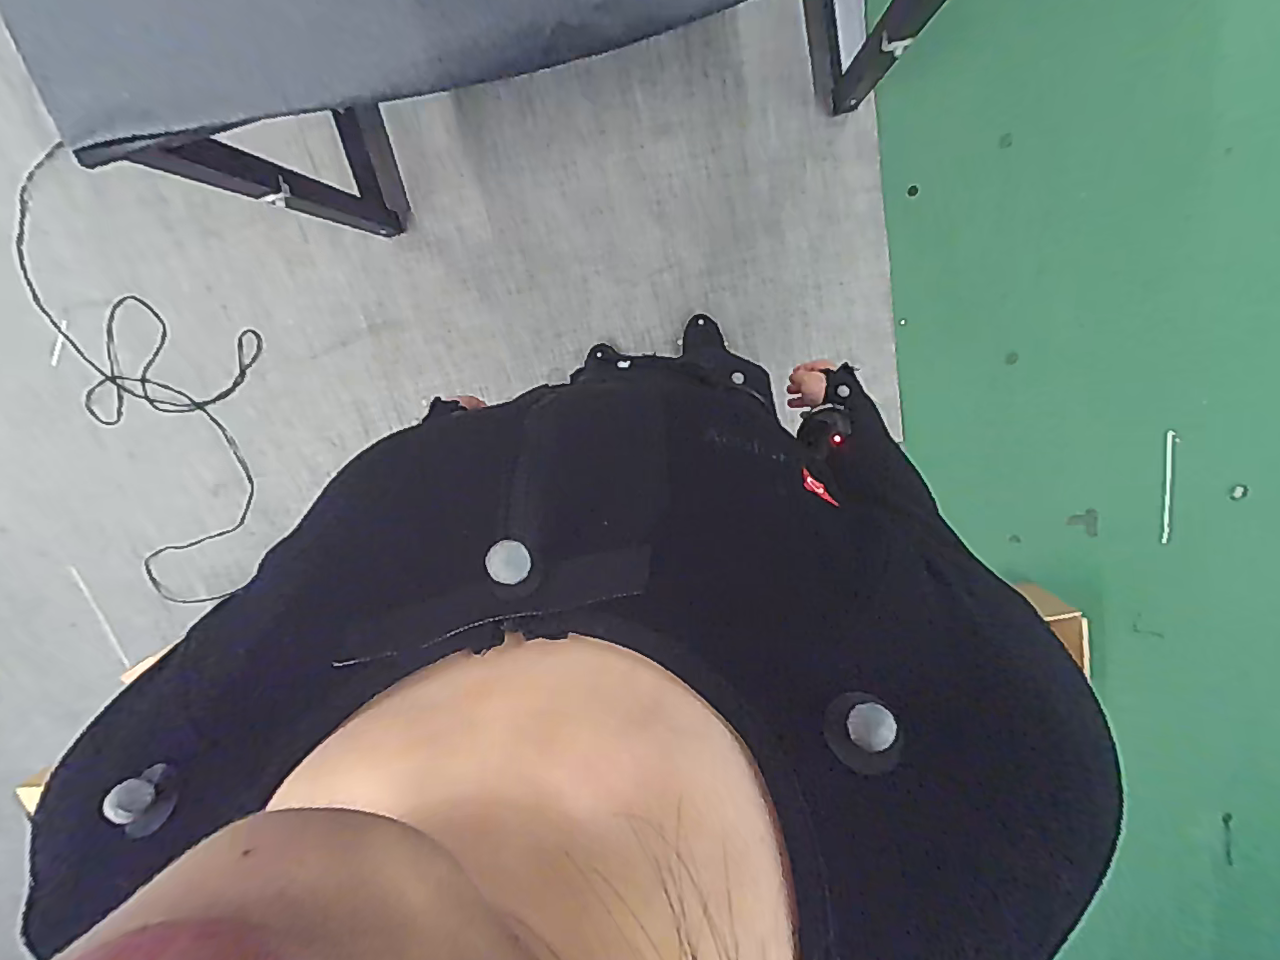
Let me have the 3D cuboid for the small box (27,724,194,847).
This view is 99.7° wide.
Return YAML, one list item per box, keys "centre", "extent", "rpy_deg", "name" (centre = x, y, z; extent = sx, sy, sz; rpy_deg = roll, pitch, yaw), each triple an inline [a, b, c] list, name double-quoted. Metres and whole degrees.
- centre: [-1.155, 0.669, 1.195]
  extent: [0.179, 0.176, 0.168]
  rpy_deg: [-9, 106, 8]
  name: "small box"
